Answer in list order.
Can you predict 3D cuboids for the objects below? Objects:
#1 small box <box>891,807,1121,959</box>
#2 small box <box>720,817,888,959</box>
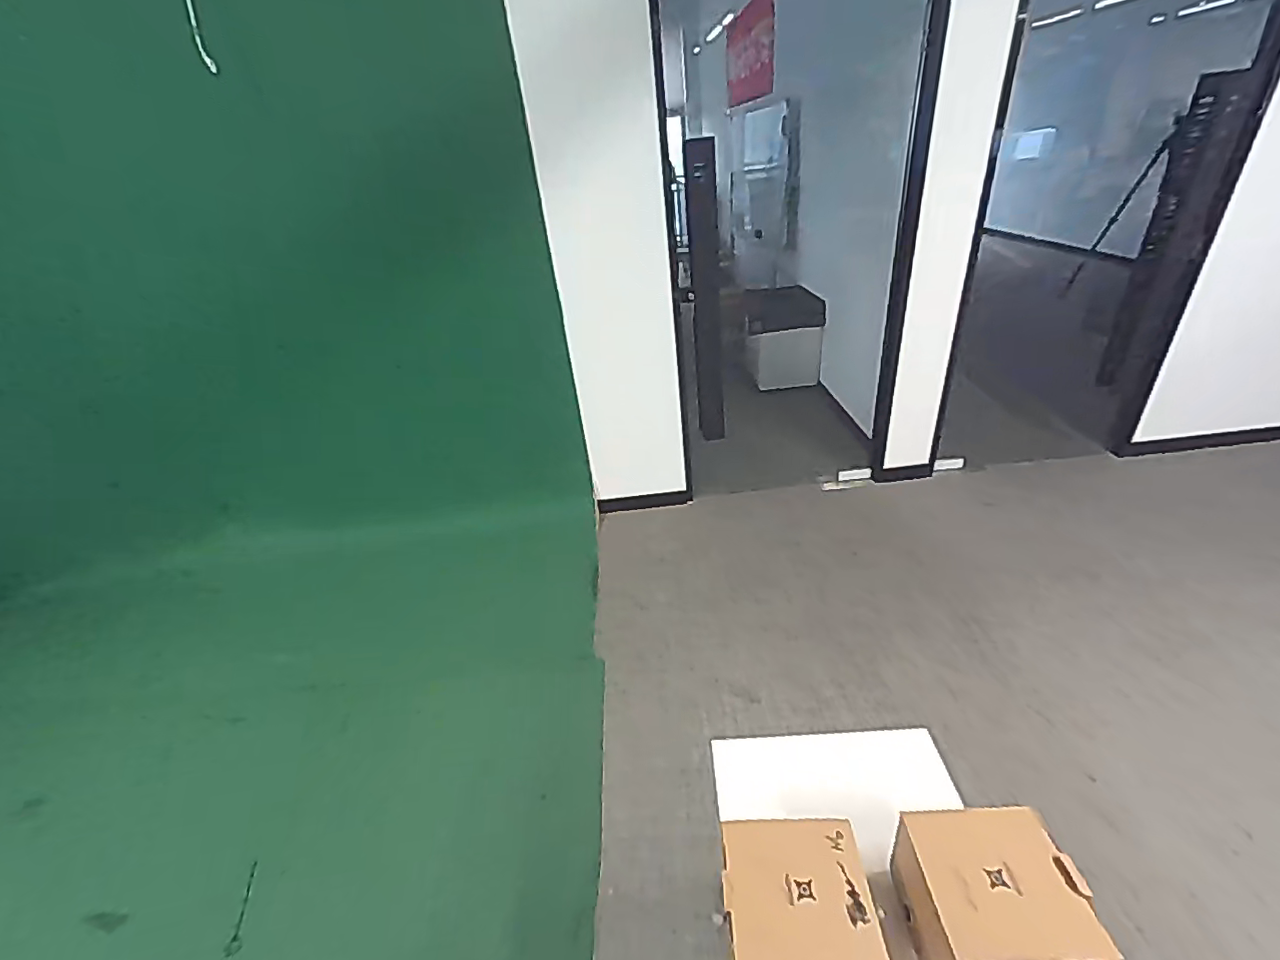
[{"bbox_3d":[0.445,0.550,0.695,0.179,0.176,0.168,-6,31,6],"label":"small box"},{"bbox_3d":[0.201,0.570,0.707,0.179,0.176,0.168,-3,32,4],"label":"small box"}]
